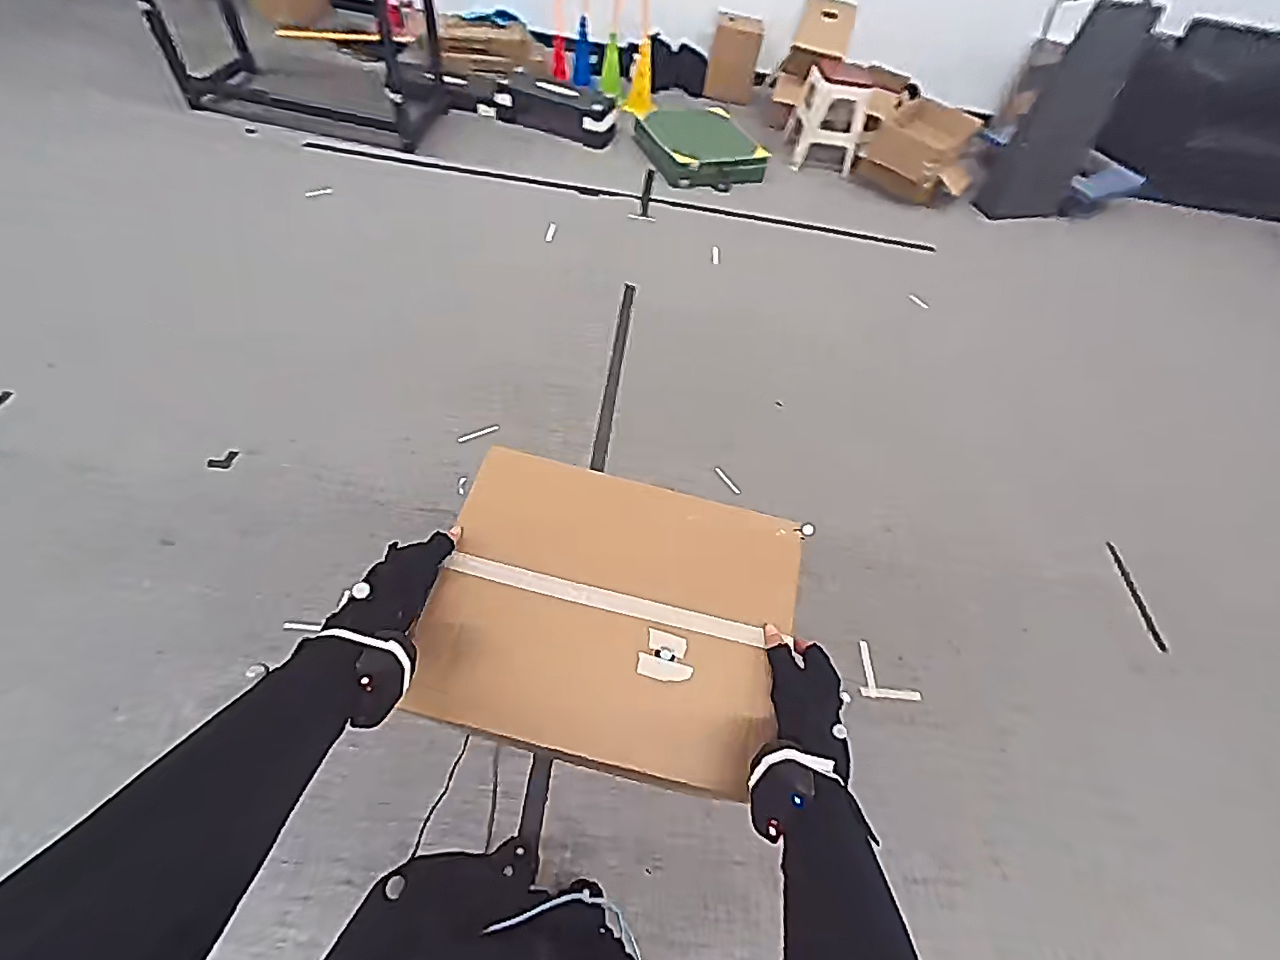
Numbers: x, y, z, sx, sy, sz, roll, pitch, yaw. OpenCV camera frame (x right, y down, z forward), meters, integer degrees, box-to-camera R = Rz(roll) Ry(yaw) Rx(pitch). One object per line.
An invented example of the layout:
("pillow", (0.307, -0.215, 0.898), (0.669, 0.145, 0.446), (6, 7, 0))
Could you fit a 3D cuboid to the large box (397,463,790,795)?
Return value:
("large box", (-0.047, 0.220, 0.752), (0.408, 0.320, 0.320), (14, 61, 0))
